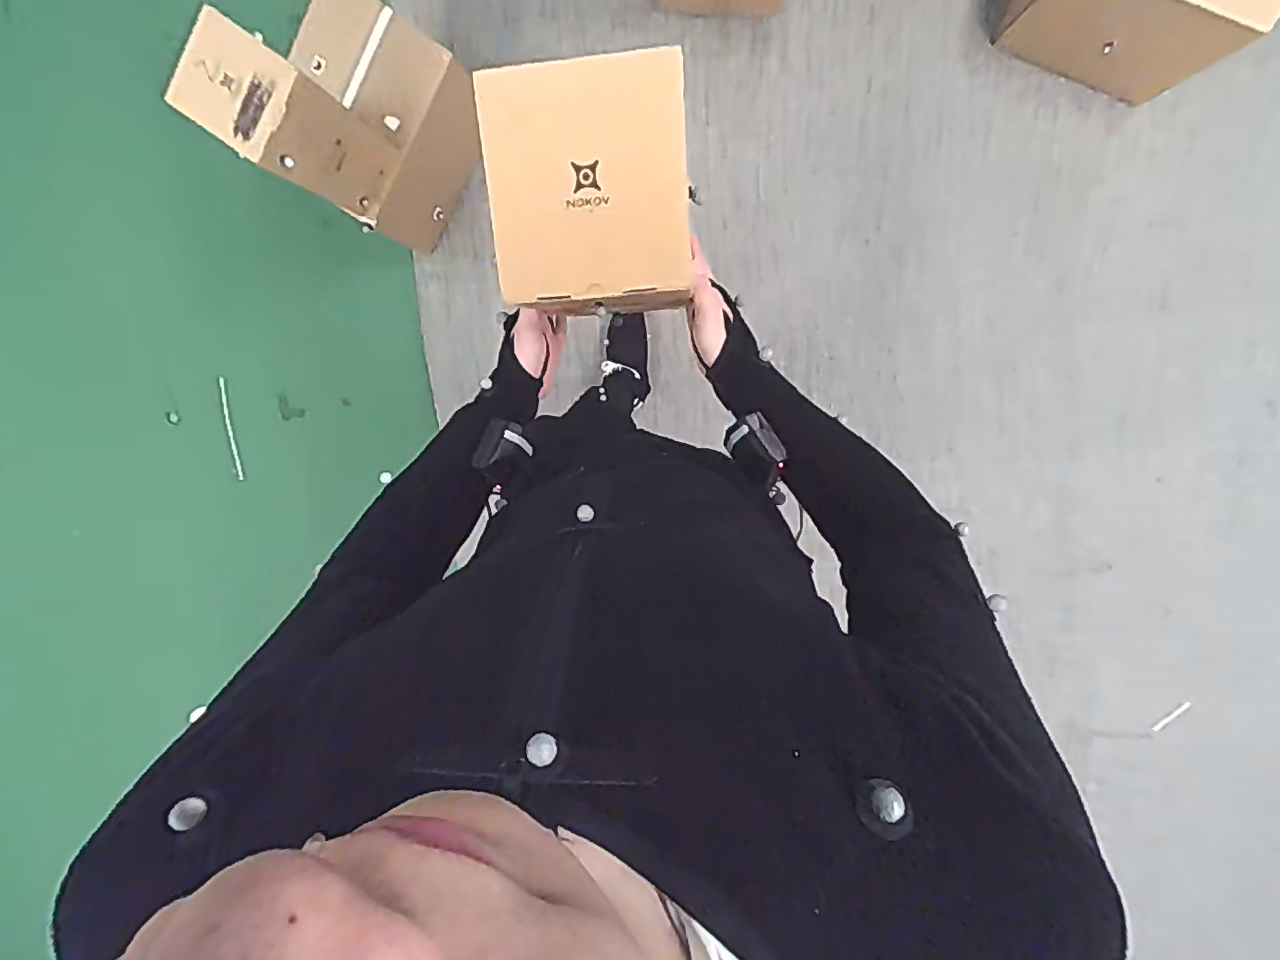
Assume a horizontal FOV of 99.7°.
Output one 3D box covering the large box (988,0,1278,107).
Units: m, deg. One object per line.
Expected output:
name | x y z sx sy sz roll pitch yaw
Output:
large box | 1.090 -1.100 1.173 0.408 0.320 0.320 21 102 0

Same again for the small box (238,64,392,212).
small box | -0.646 -0.676 1.100 0.179 0.176 0.168 36 100 -4

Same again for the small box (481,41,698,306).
small box | -0.034 -0.264 0.510 0.168 0.176 0.179 -3 106 4
